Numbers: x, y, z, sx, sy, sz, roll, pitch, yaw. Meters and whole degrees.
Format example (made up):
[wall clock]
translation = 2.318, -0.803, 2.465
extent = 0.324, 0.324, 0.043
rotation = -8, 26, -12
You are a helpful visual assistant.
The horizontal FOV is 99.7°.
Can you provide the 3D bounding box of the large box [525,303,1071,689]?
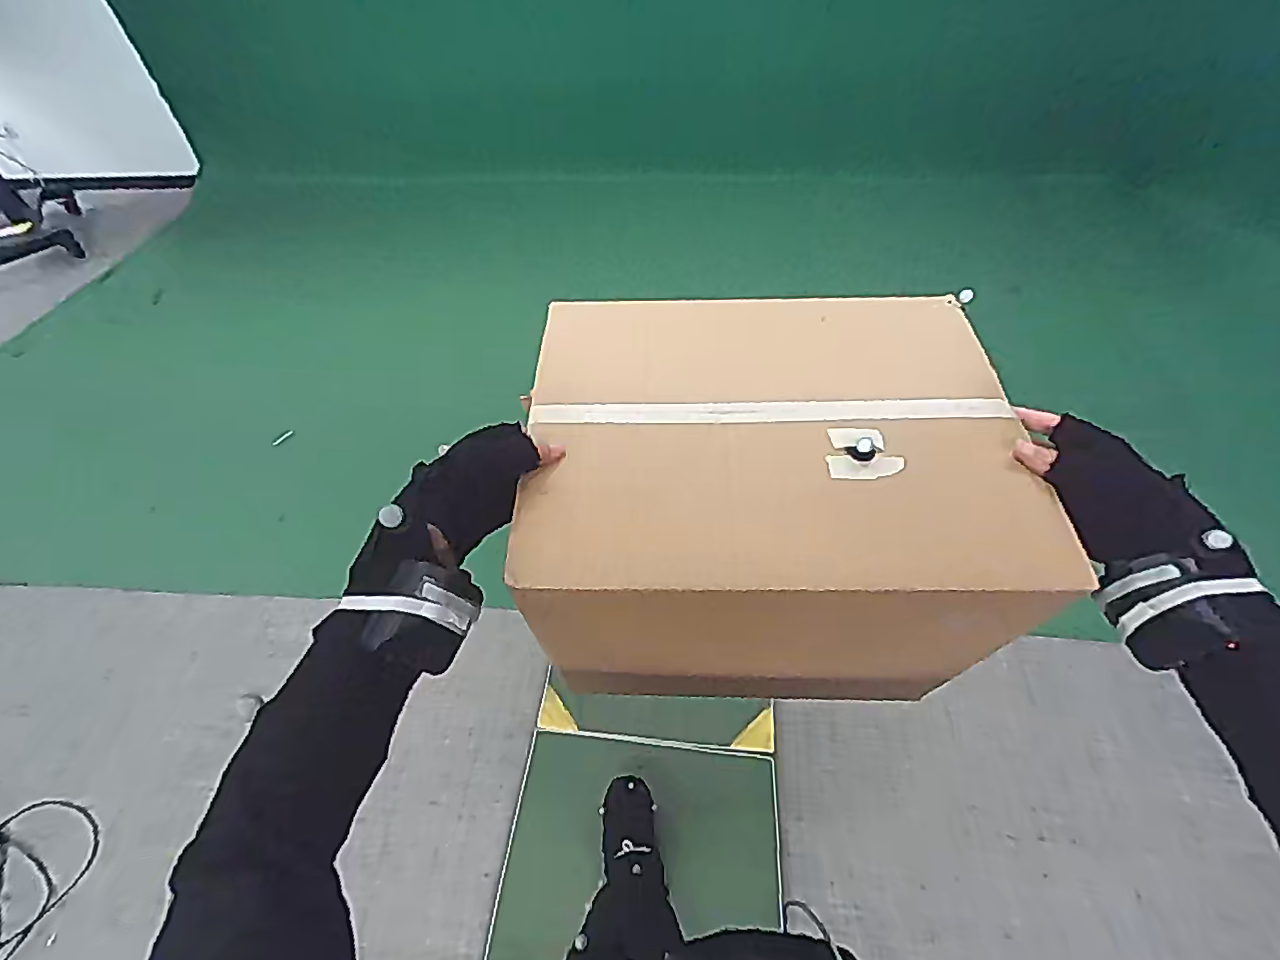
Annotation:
[large box]
translation = 0.114, 0.030, 0.594
extent = 0.408, 0.320, 0.320
rotation = 0, 56, 1
